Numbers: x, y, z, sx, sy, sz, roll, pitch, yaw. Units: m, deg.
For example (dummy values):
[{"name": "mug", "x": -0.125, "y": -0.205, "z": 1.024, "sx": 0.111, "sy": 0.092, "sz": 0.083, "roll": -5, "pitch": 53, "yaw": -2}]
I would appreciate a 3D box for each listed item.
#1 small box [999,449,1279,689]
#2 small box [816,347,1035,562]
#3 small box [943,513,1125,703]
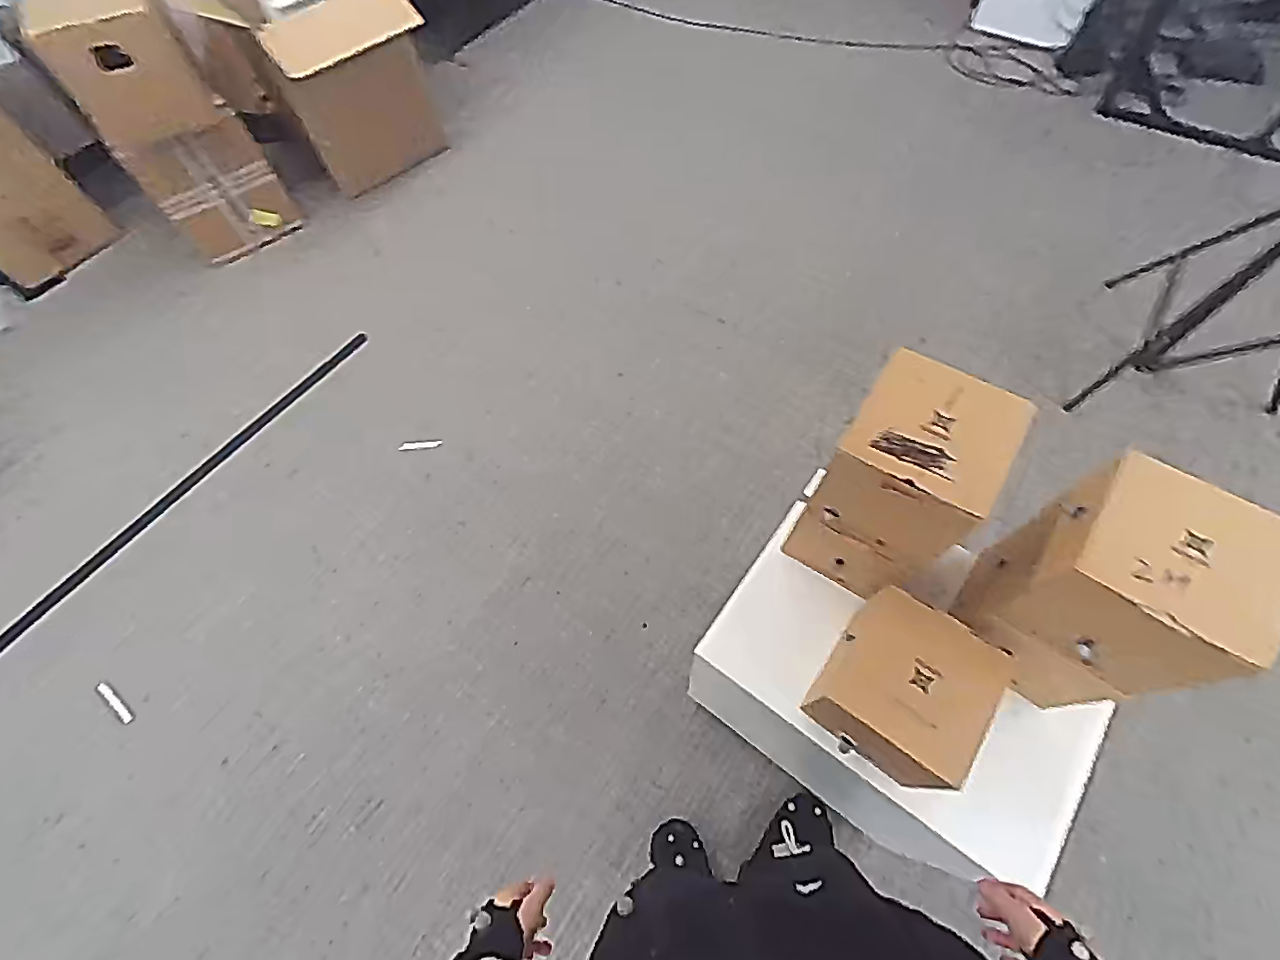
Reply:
[{"name": "small box", "x": 0.546, "y": 0.105, "z": 0.601, "sx": 0.168, "sy": 0.176, "sz": 0.179, "roll": 34, "pitch": 70, "yaw": 20}, {"name": "small box", "x": 0.340, "y": -0.024, "z": 0.680, "sx": 0.168, "sy": 0.176, "sz": 0.179, "roll": 30, "pitch": 69, "yaw": 17}, {"name": "small box", "x": 0.554, "y": 0.184, "z": 0.747, "sx": 0.168, "sy": 0.176, "sz": 0.179, "roll": 35, "pitch": 71, "yaw": 20}]
